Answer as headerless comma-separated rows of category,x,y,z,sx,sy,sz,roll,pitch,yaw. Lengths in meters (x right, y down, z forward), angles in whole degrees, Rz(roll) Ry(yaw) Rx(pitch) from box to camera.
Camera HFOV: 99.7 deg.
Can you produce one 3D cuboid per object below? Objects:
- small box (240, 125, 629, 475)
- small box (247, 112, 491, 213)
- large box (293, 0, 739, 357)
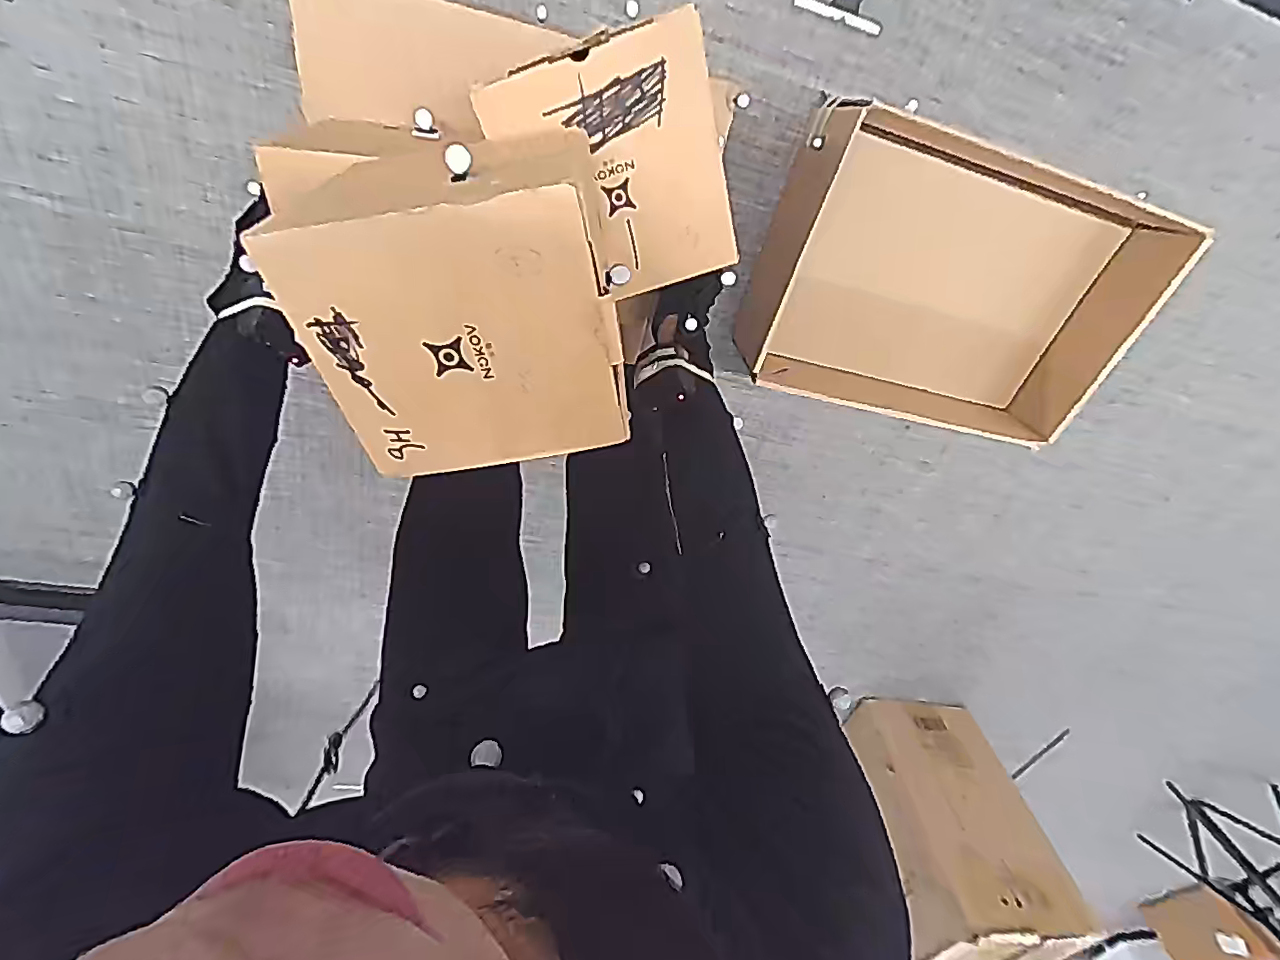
small box,-0.109,-0.129,0.373,0.179,0.176,0.168,-8,130,1
small box,-0.210,-0.221,0.500,0.168,0.176,0.179,0,128,-9
large box,-0.143,-0.388,0.685,0.408,0.320,0.320,6,129,-12
